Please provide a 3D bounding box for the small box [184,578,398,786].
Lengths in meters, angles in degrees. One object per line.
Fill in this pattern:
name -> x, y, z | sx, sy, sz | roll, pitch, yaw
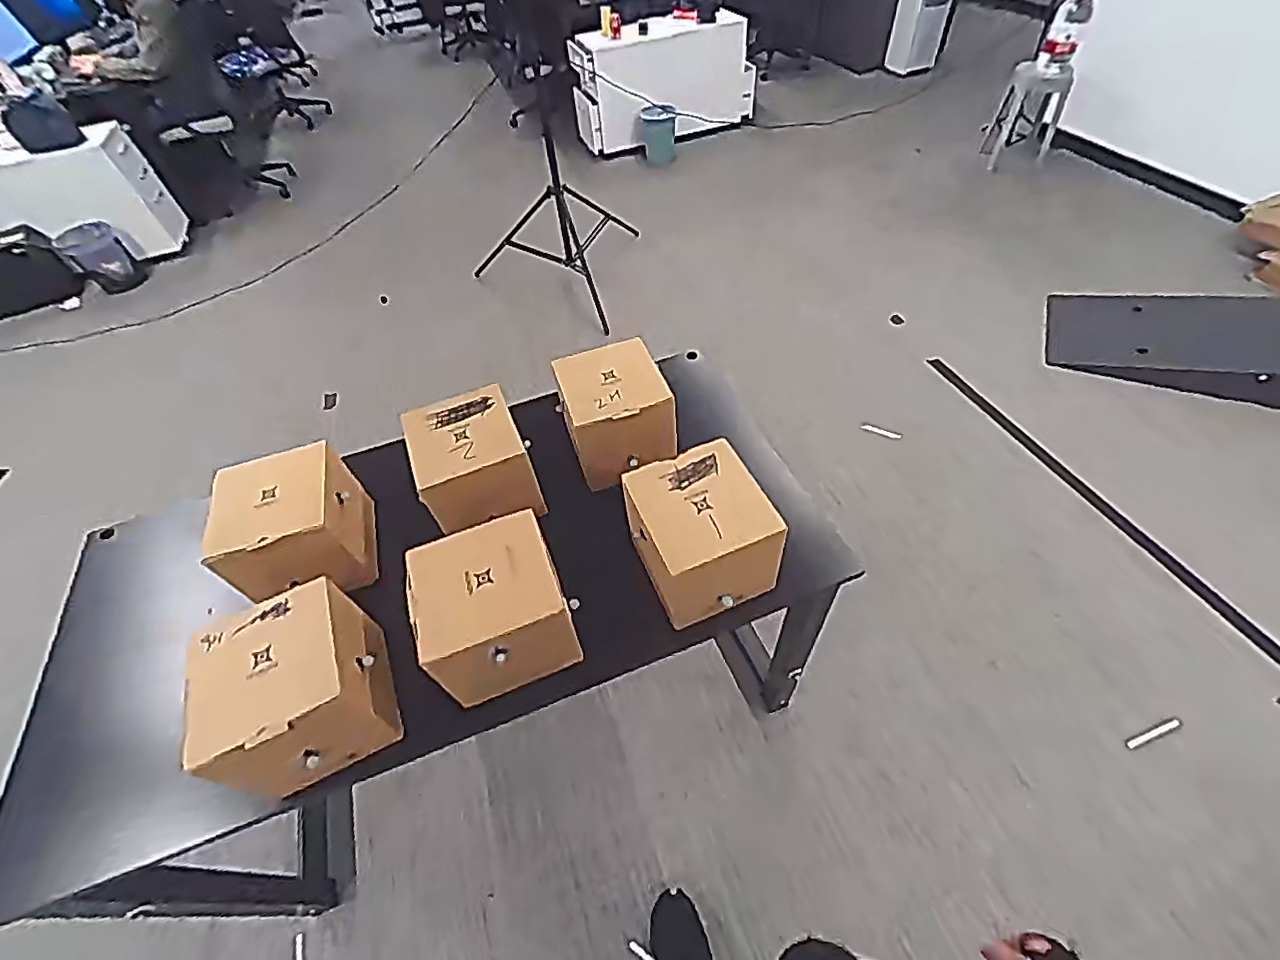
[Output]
small box -> -0.434, 0.264, 0.692 | 0.168, 0.176, 0.179 | -24, 53, -13

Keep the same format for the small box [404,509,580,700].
small box -> -0.198, 0.175, 0.743 | 0.179, 0.176, 0.168 | -20, 53, -11

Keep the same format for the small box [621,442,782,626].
small box -> 0.083, 0.080, 0.788 | 0.168, 0.176, 0.179 | -21, 52, -10

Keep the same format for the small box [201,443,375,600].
small box -> -0.538, 0.075, 0.856 | 0.168, 0.176, 0.179 | -18, 52, -9

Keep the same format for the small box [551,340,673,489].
small box -> -0.048, -0.115, 0.959 | 0.168, 0.176, 0.179 | -18, 52, -8
